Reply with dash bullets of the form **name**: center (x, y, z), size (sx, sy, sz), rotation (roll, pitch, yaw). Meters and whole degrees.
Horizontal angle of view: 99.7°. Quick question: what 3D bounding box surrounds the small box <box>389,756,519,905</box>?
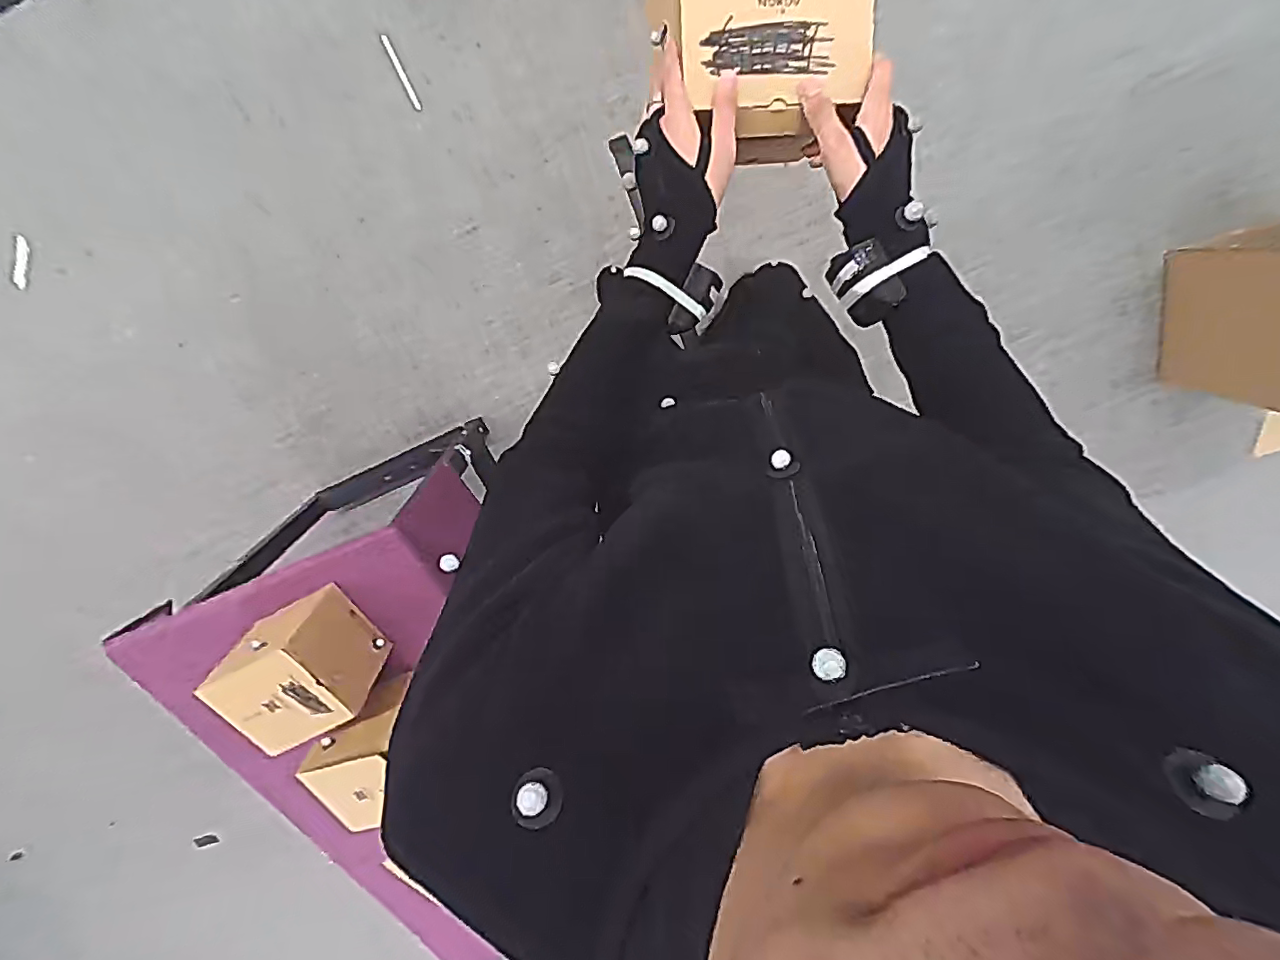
- **small box**: center (-0.361, 0.700, 1.094), size (0.179, 0.176, 0.168), rotation (-31, 111, 10)

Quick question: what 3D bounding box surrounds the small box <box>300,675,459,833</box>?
- **small box**: center (-0.464, 0.498, 0.996), size (0.179, 0.176, 0.168), rotation (-22, 113, 5)

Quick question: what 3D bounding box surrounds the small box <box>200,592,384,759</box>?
- **small box**: center (-0.563, 0.320, 0.912), size (0.179, 0.176, 0.168), rotation (-27, 113, 9)
